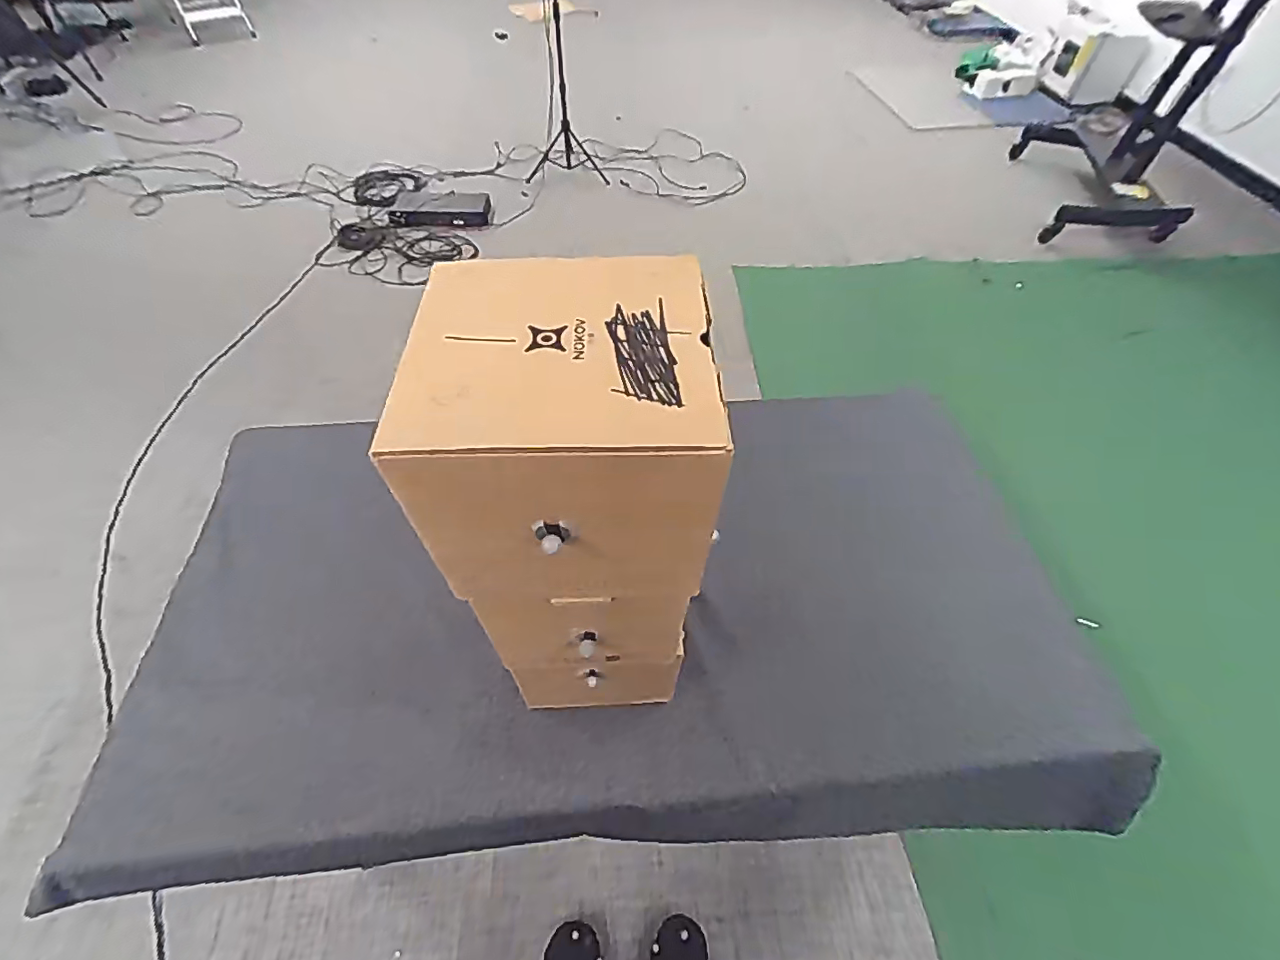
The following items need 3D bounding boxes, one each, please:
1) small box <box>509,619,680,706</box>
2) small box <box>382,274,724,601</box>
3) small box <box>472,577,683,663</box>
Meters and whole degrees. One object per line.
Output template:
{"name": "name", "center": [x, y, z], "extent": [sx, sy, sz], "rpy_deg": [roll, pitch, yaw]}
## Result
{"name": "small box", "center": [-0.051, 0.166, 0.653], "extent": [0.179, 0.176, 0.168], "rpy_deg": [-2, 53, -4]}
{"name": "small box", "center": [-0.047, -0.024, 0.384], "extent": [0.179, 0.176, 0.168], "rpy_deg": [-1, 53, -1]}
{"name": "small box", "center": [-0.051, 0.068, 0.522], "extent": [0.168, 0.176, 0.179], "rpy_deg": [-2, 54, -3]}
